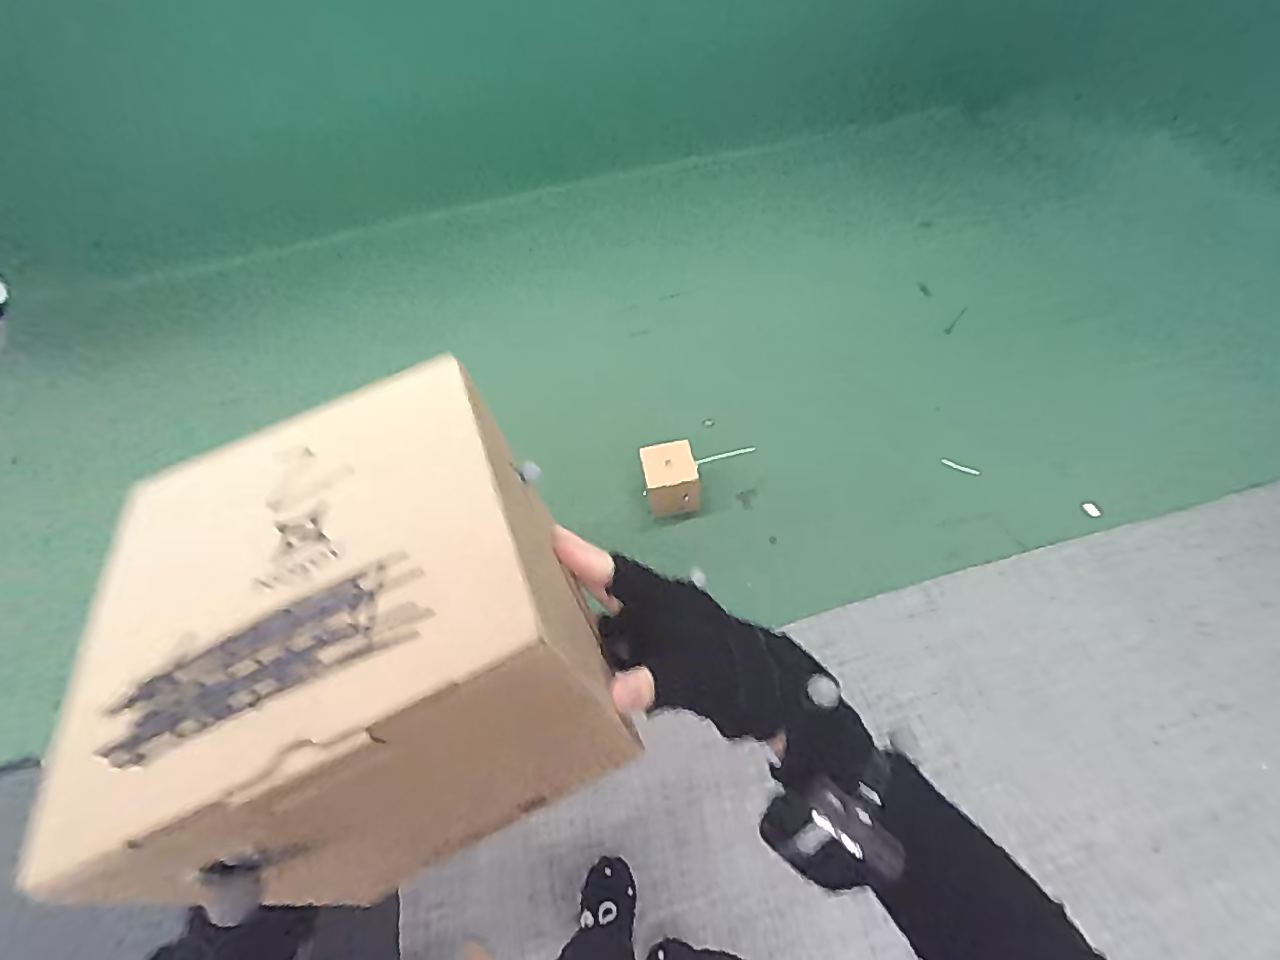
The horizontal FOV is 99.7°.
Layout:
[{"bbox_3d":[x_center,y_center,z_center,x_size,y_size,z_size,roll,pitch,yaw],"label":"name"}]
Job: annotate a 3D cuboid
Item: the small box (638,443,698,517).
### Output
[{"bbox_3d":[0.095,0.008,1.802,0.168,0.176,0.179,-11,51,-2],"label":"small box"}]
